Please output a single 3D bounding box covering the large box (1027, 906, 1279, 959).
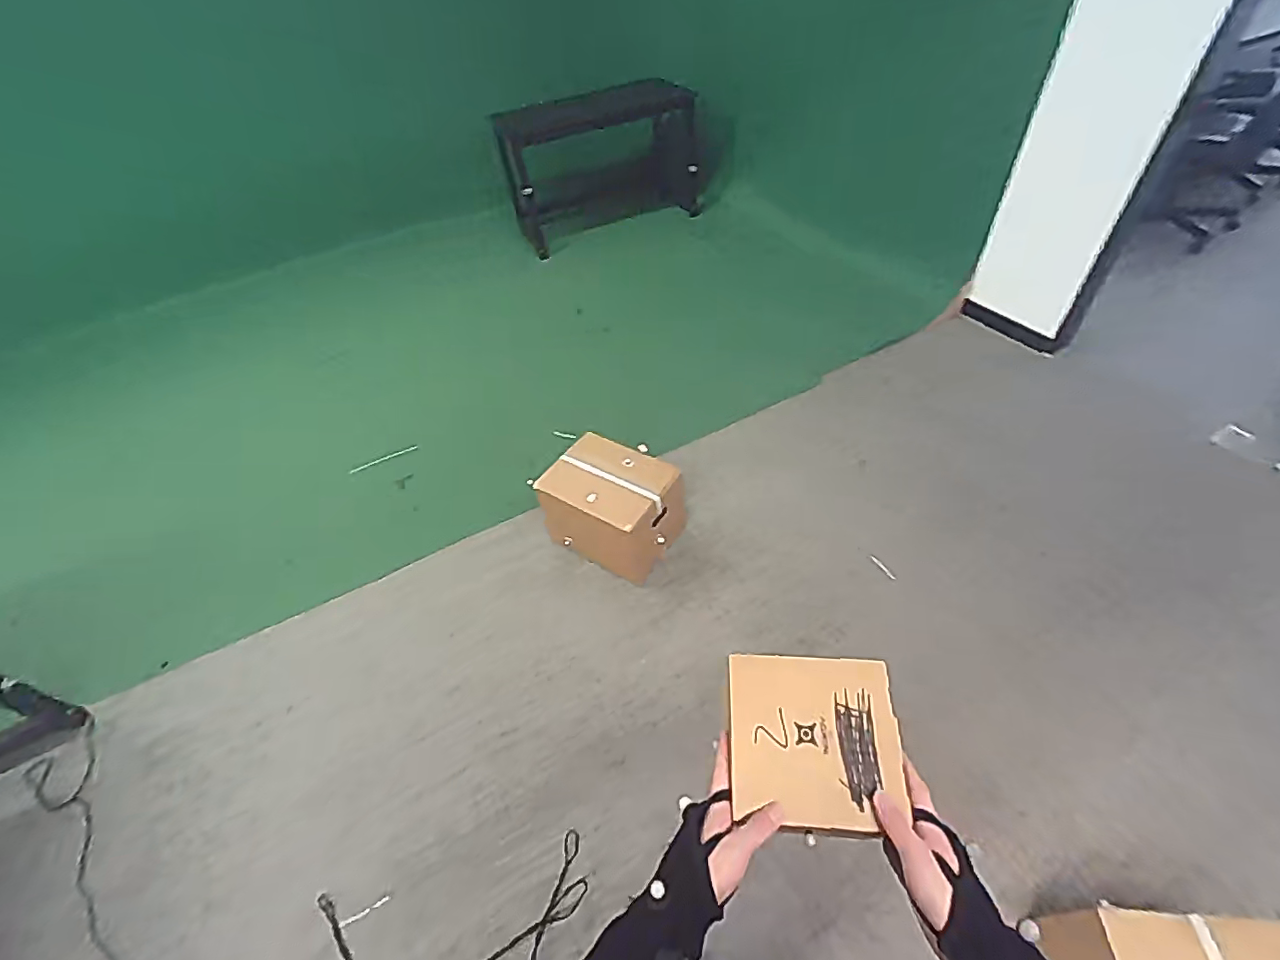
[{"bbox_3d":[0.971,1.020,0.938,0.320,0.320,0.408,0,47,6],"label":"large box"}]
